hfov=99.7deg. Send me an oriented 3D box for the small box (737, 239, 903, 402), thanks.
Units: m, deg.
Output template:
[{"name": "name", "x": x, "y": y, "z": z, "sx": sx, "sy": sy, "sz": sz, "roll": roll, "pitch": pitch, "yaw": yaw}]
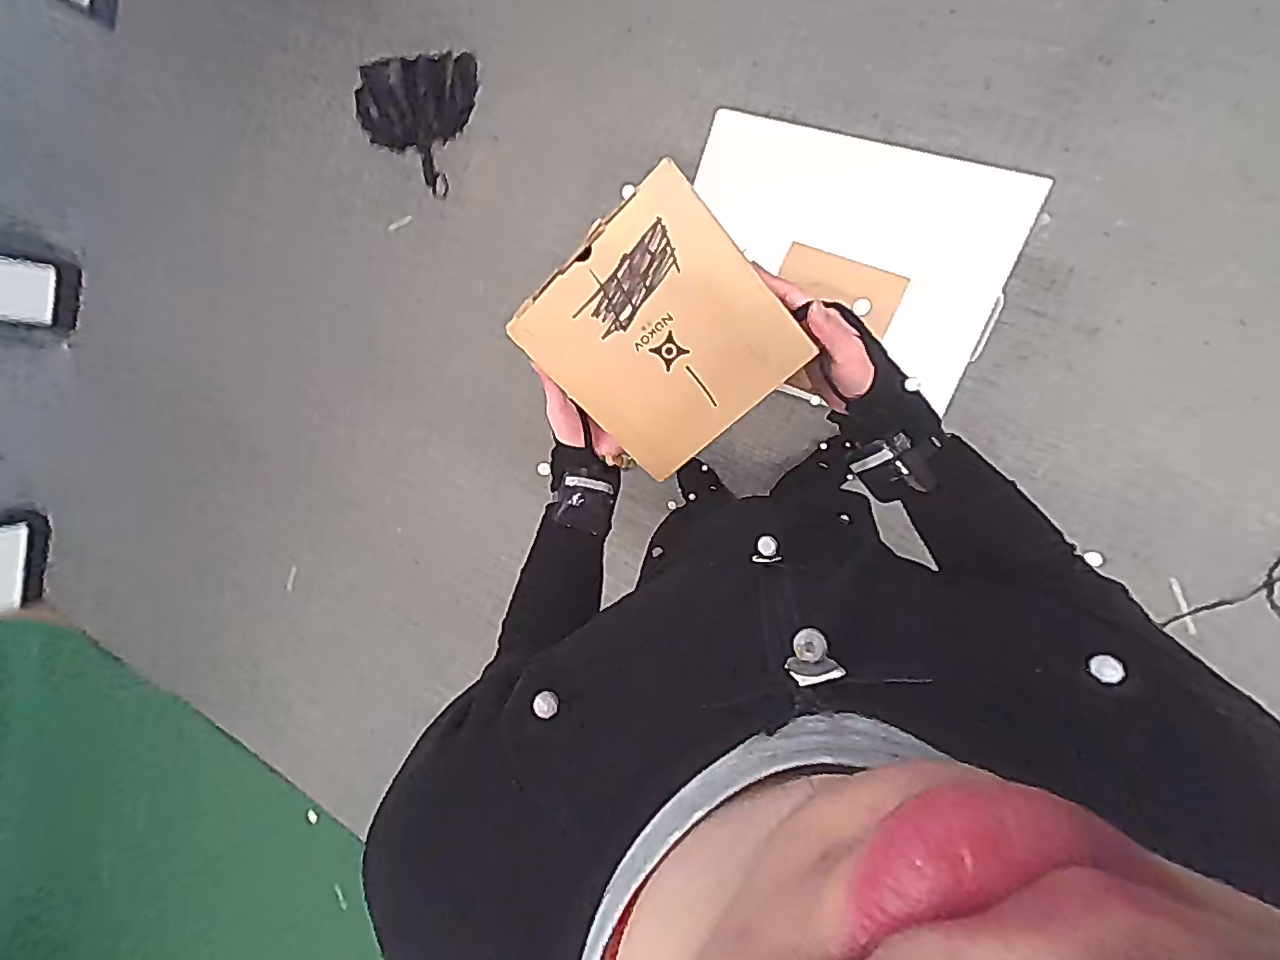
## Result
[{"name": "small box", "x": 0.264, "y": -0.225, "z": 0.811, "sx": 0.168, "sy": 0.176, "sz": 0.179, "roll": 25, "pitch": 102, "yaw": 12}]
